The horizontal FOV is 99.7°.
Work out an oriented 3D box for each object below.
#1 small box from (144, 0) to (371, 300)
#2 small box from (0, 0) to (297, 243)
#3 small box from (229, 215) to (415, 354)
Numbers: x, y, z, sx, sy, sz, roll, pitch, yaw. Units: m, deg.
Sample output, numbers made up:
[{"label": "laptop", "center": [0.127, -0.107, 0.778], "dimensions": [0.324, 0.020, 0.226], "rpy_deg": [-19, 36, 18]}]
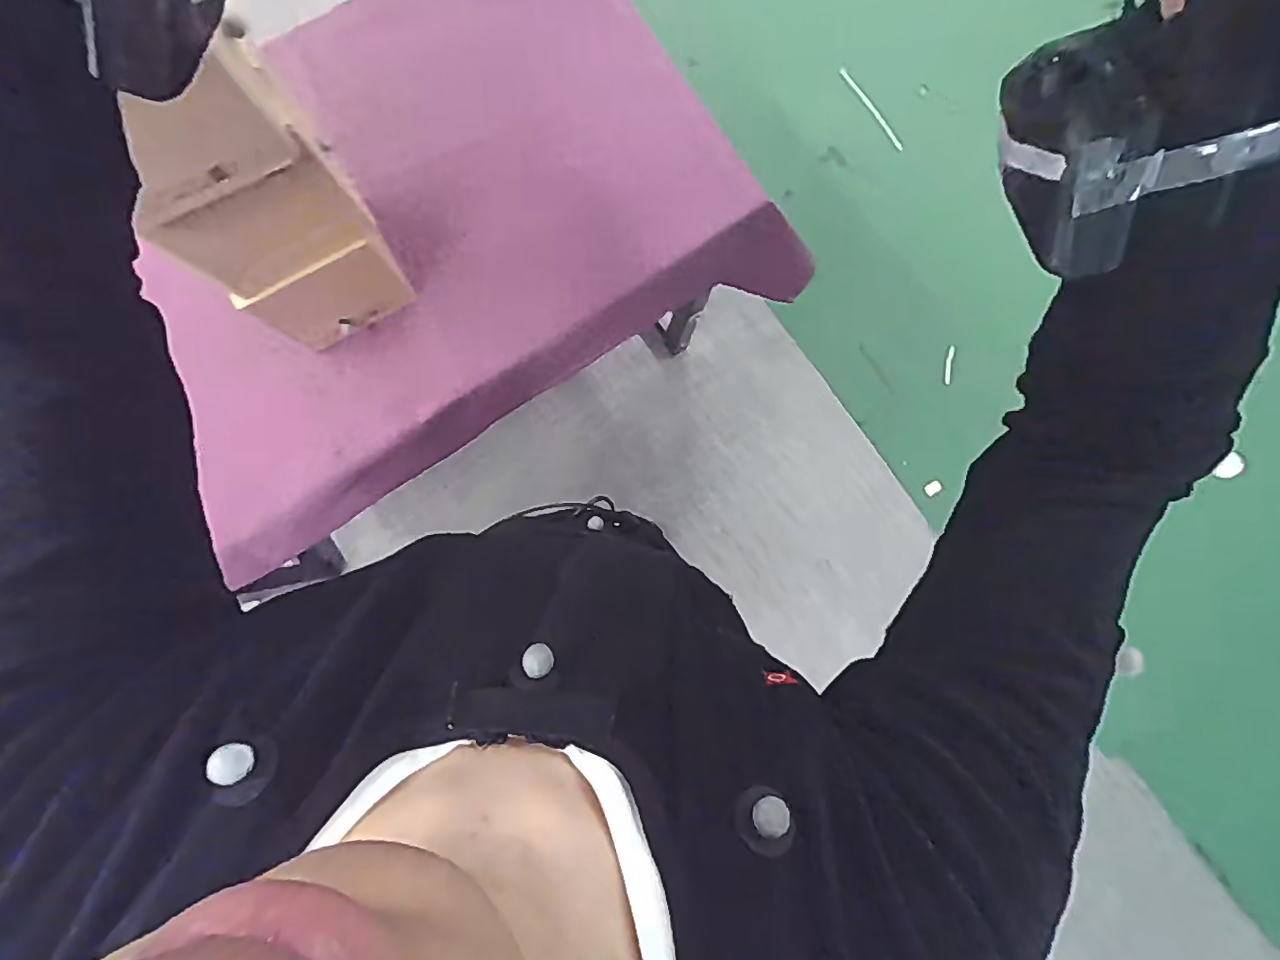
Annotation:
[{"label": "small box", "center": [-0.413, -0.311, 0.536], "dimensions": [0.179, 0.176, 0.168], "rpy_deg": [-32, 88, -5]}, {"label": "small box", "center": [-0.390, -0.307, 0.372], "dimensions": [0.168, 0.176, 0.179], "rpy_deg": [-30, 86, -5]}, {"label": "small box", "center": [-0.426, -0.293, 0.696], "dimensions": [0.168, 0.176, 0.179], "rpy_deg": [-31, 88, -5]}]
